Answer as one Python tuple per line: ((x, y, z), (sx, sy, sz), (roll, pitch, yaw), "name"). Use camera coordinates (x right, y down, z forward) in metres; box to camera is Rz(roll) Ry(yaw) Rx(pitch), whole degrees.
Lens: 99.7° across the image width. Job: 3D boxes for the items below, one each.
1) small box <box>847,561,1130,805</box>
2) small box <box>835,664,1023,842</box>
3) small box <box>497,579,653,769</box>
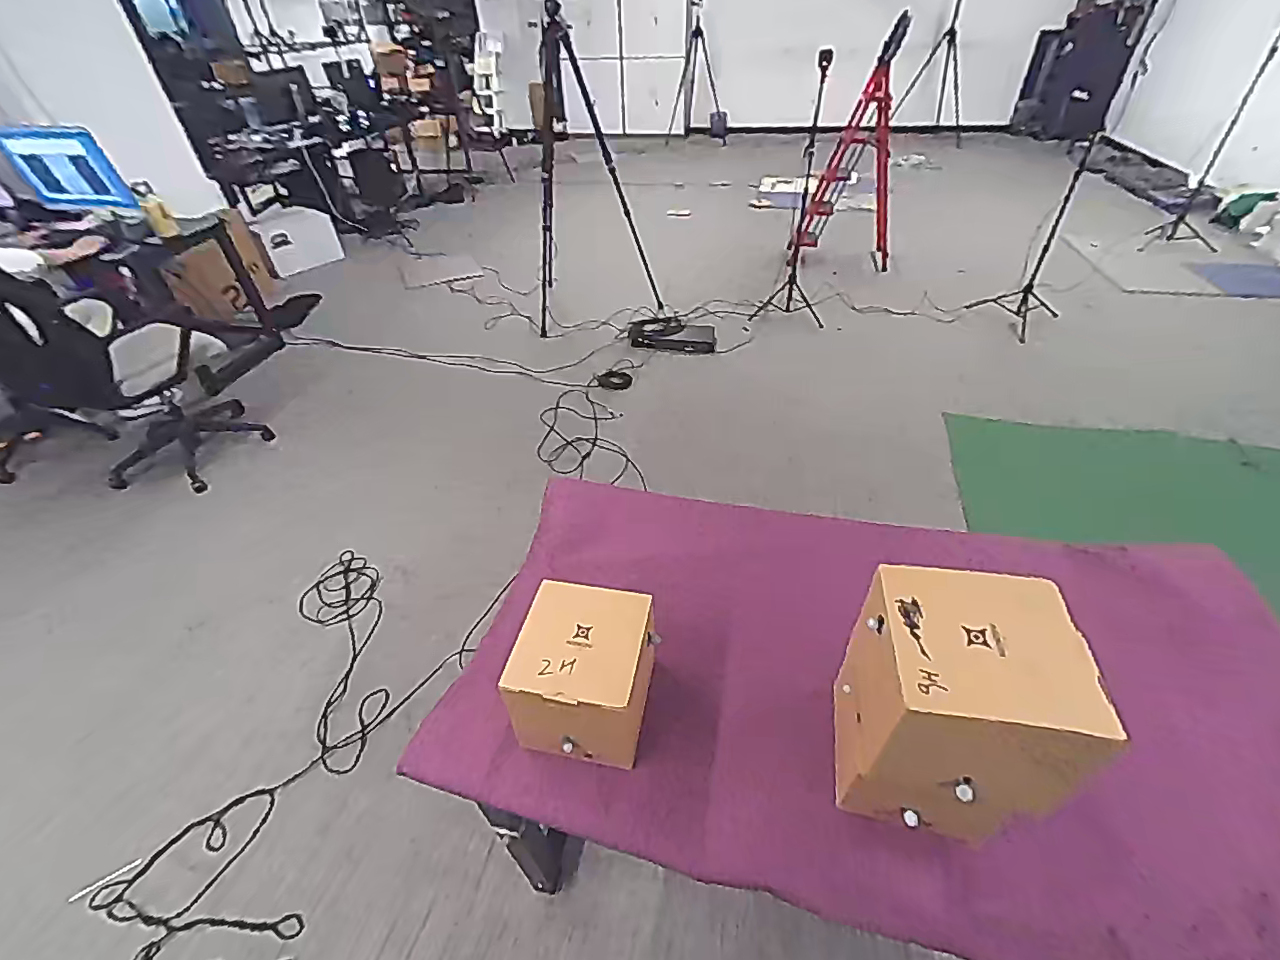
((0.328, 0.209, 0.557), (0.179, 0.176, 0.168), (6, 42, 10), "small box")
((0.348, 0.316, 0.683), (0.168, 0.176, 0.179), (8, 42, 12), "small box")
((-0.078, 0.268, 0.758), (0.168, 0.176, 0.179), (6, 41, 10), "small box")
